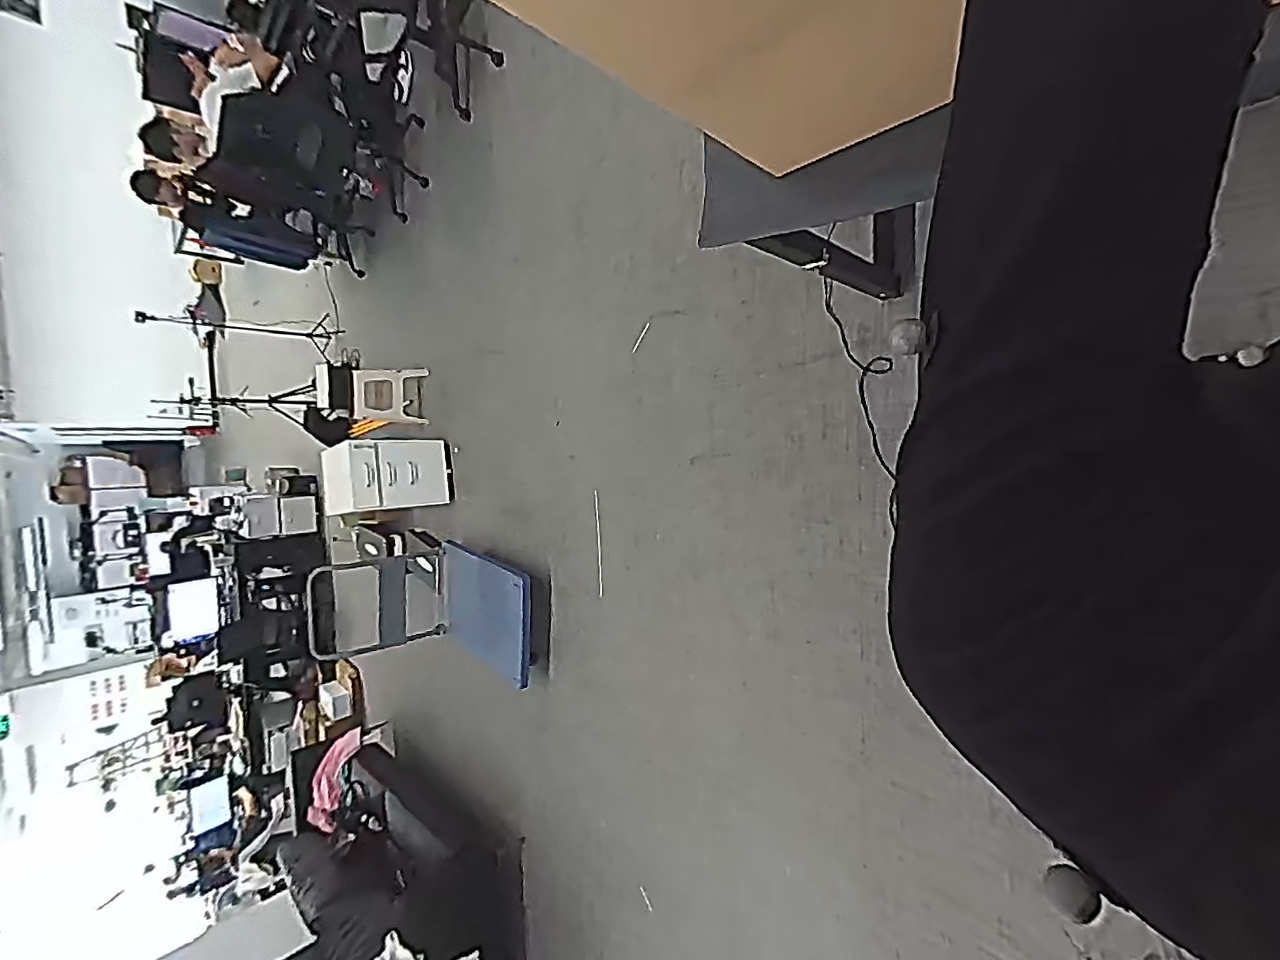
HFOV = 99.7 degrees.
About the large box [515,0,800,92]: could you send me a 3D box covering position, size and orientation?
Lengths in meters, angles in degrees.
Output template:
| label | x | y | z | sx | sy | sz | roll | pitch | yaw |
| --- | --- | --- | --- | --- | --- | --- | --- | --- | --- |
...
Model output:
| label | x | y | z | sx | sy | sz | roll | pitch | yaw |
| --- | --- | --- | --- | --- | --- | --- | --- | --- | --- |
| large box | 0.052 | -0.611 | 0.417 | 0.408 | 0.320 | 0.320 | 2 | 96 | 44 |
